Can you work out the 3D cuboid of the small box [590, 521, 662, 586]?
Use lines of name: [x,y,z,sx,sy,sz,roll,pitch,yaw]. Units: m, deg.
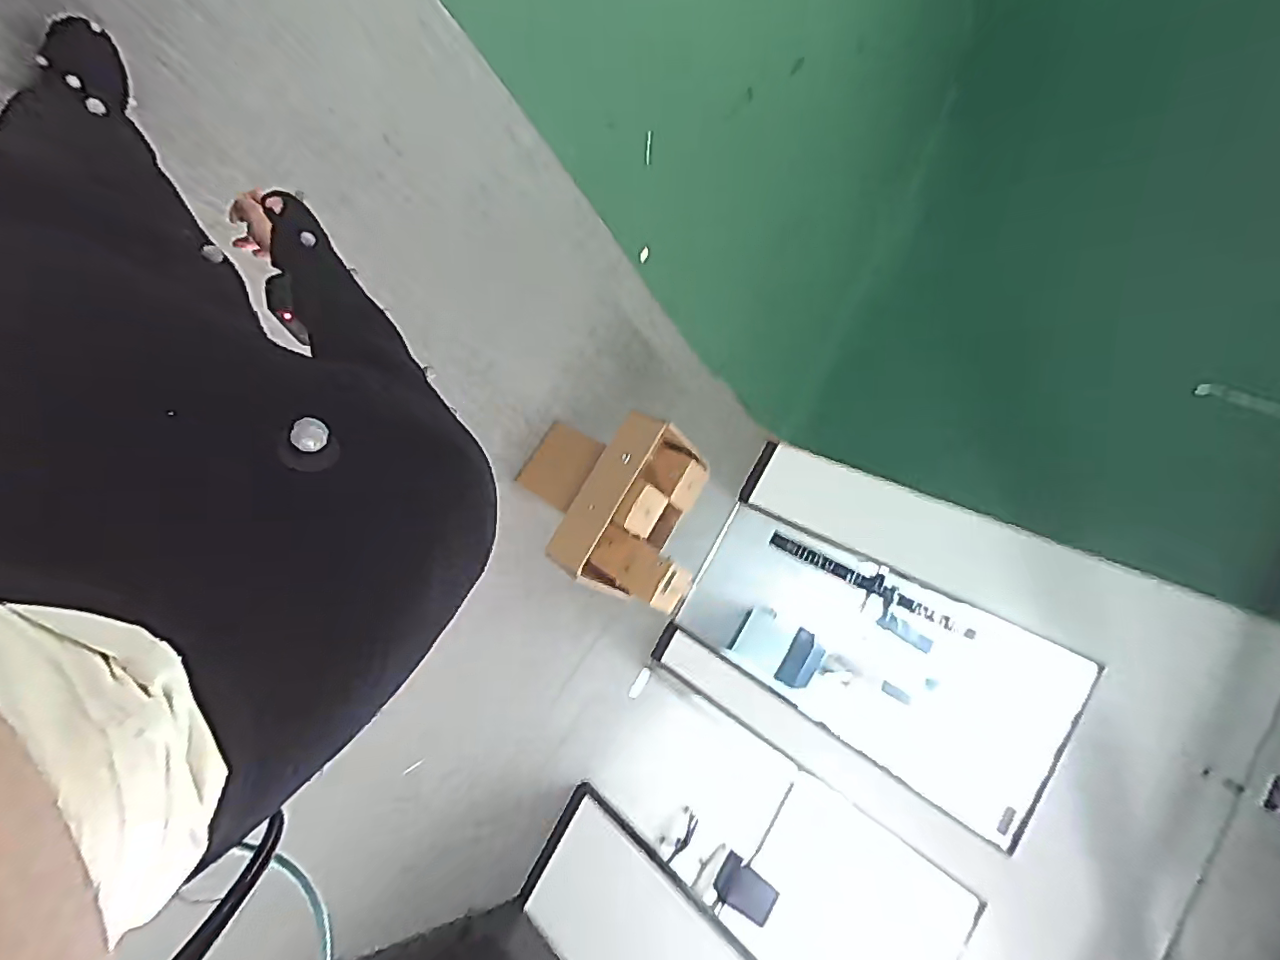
small box: [-0.054,0.274,2.035,0.168,0.176,0.179,-59,143,-5]
